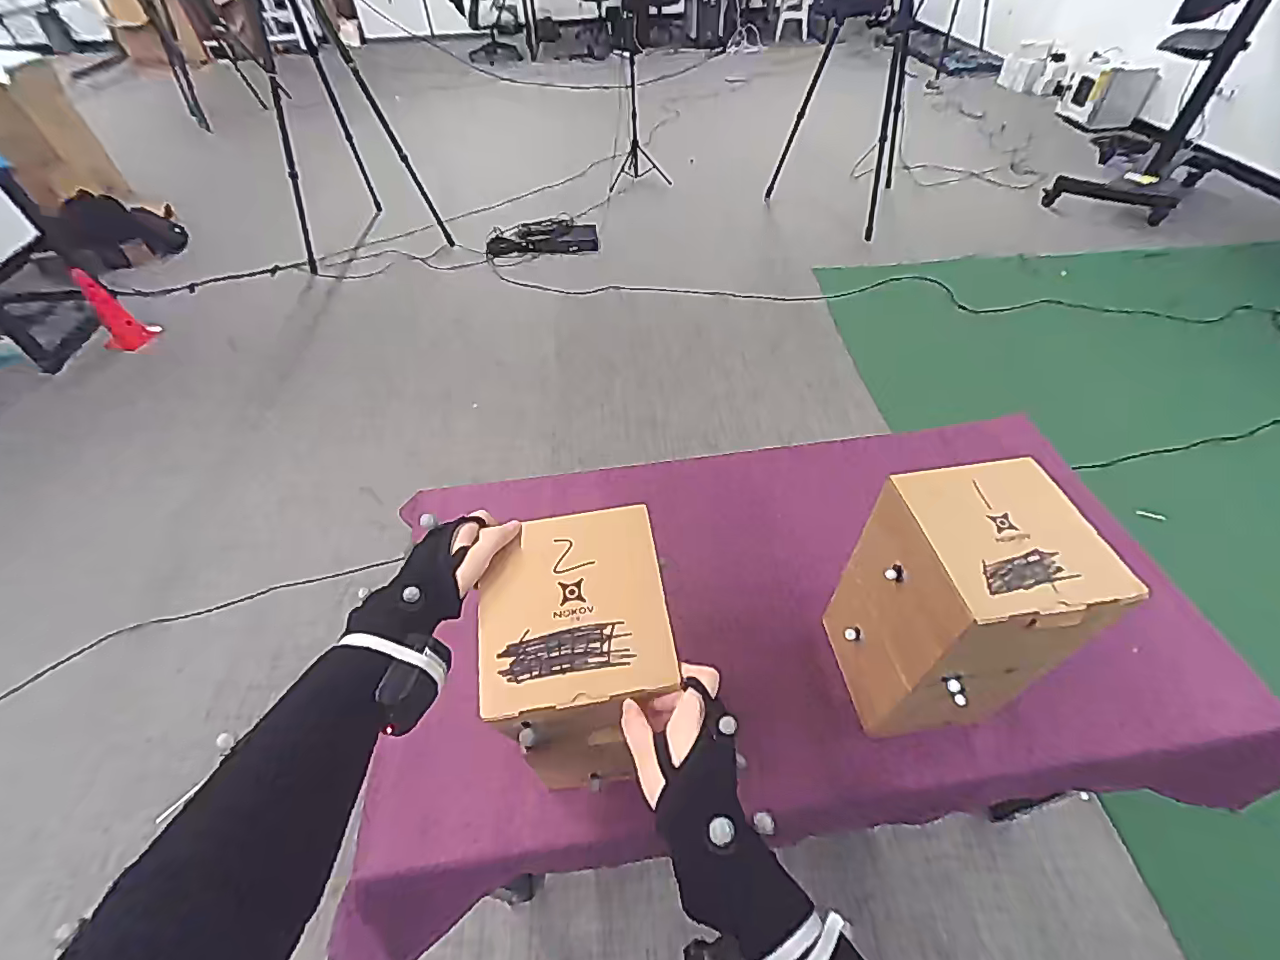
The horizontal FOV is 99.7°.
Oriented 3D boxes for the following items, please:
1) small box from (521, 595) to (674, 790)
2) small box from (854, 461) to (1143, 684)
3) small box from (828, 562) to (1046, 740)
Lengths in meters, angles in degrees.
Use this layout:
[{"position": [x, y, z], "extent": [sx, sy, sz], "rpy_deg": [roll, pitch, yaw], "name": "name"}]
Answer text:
[{"position": [-0.051, 0.271, 0.688], "extent": [0.168, 0.176, 0.179], "rpy_deg": [-7, 49, -2], "name": "small box"}, {"position": [0.359, 0.107, 0.588], "extent": [0.168, 0.176, 0.179], "rpy_deg": [-7, 48, -3], "name": "small box"}, {"position": [0.365, 0.216, 0.711], "extent": [0.168, 0.176, 0.179], "rpy_deg": [-8, 48, -2], "name": "small box"}]
